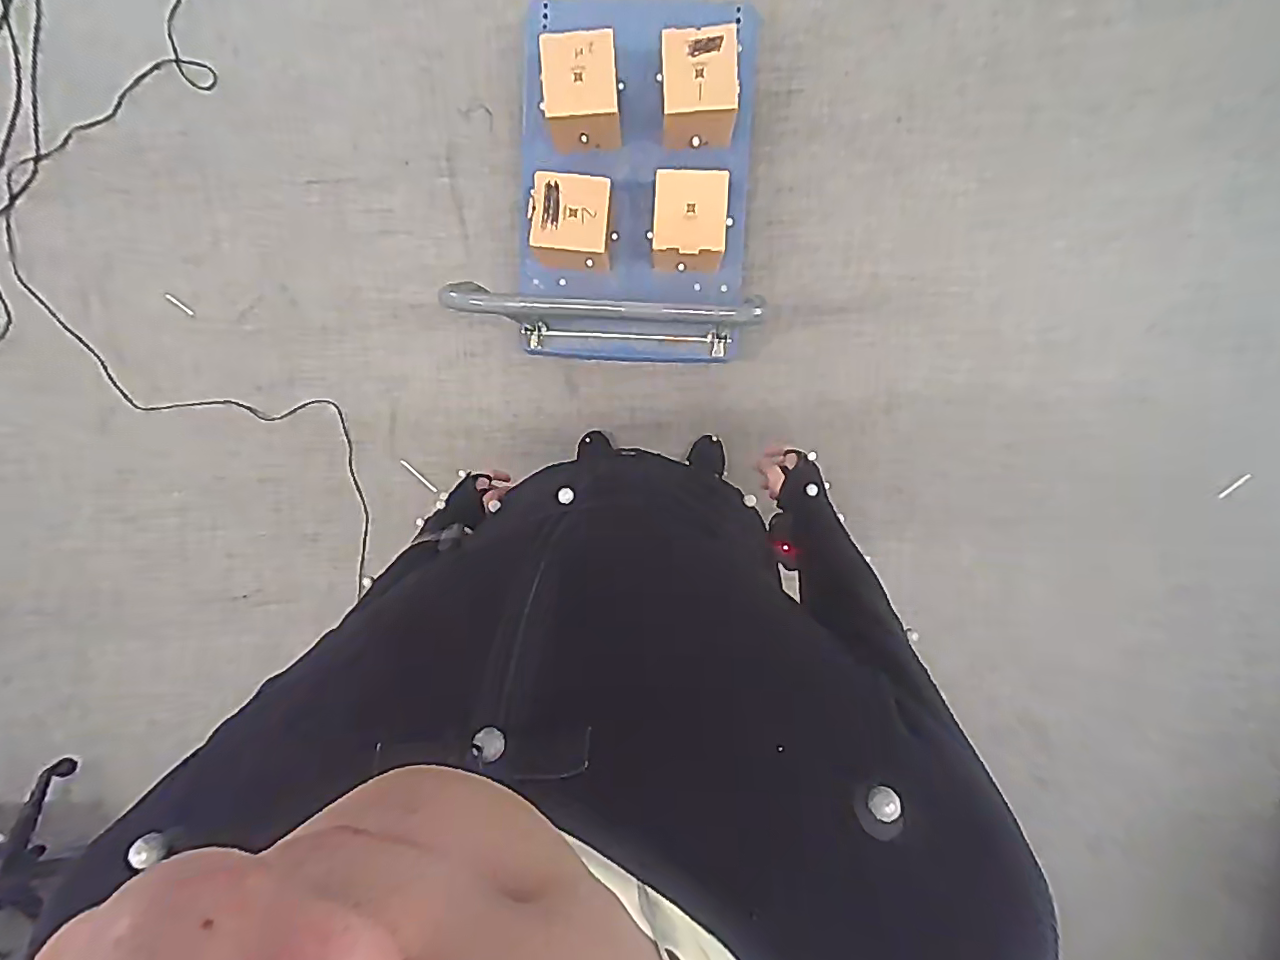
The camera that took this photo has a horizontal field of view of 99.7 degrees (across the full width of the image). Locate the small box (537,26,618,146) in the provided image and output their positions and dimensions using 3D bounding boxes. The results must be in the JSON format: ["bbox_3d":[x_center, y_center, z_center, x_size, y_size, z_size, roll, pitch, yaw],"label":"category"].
[{"bbox_3d":[-0.141,-0.914,1.275,0.168,0.176,0.179,-3,96,1],"label":"small box"}]

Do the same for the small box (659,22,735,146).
[{"bbox_3d":[0.129,-0.918,1.266,0.168,0.176,0.179,-3,97,3],"label":"small box"}]

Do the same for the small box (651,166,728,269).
[{"bbox_3d":[0.113,-0.625,1.301,0.168,0.176,0.179,2,97,1],"label":"small box"}]
